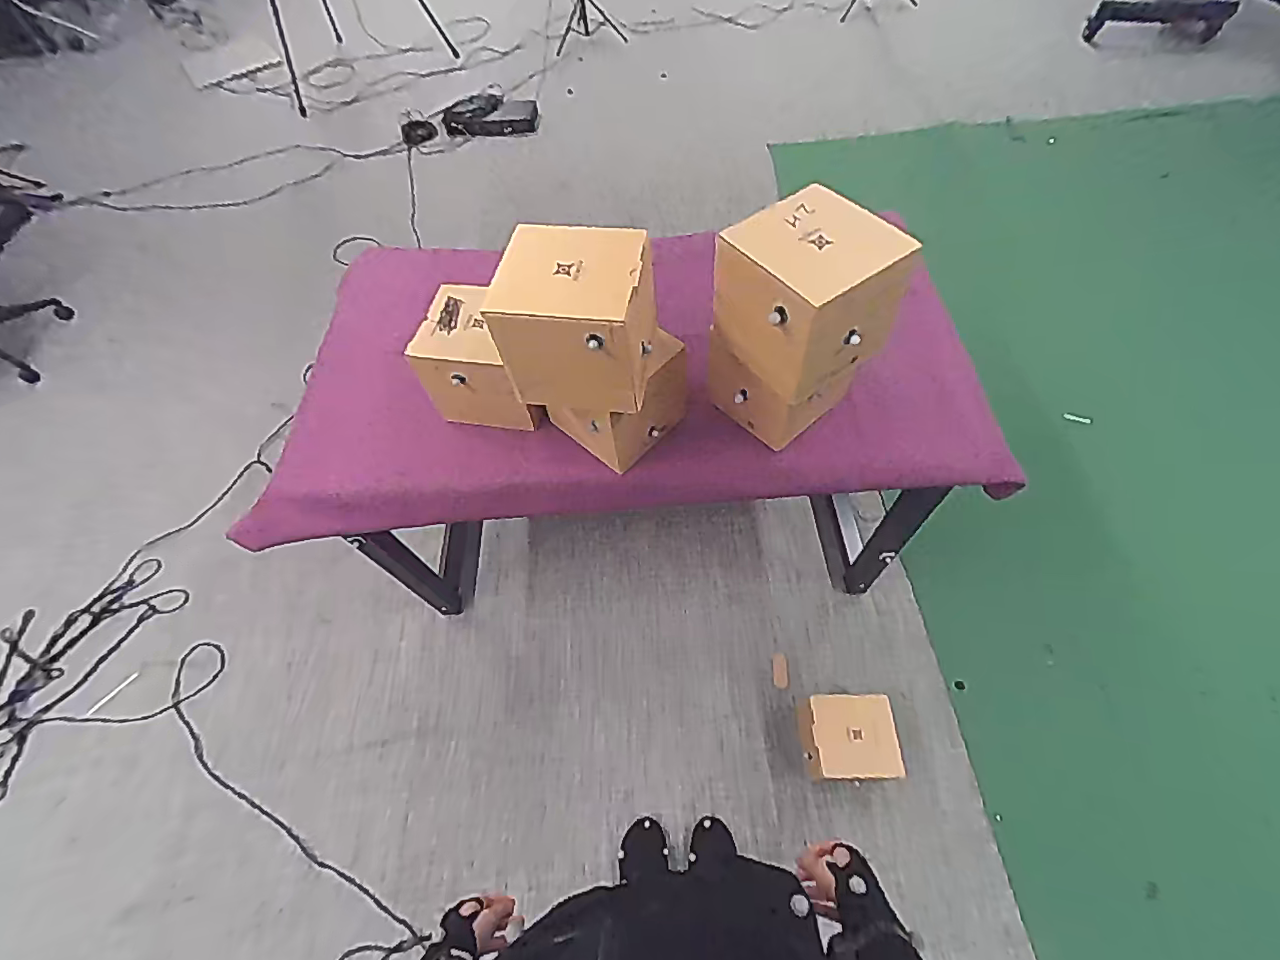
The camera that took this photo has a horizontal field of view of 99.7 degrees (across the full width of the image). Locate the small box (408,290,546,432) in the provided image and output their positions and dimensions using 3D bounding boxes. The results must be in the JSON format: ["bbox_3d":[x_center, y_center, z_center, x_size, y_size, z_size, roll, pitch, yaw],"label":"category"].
[{"bbox_3d":[-0.253,-0.198,0.922,0.179,0.176,0.168,7,60,8],"label":"small box"}]

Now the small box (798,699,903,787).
[{"bbox_3d":[0.466,0.602,1.232,0.179,0.176,0.168,-1,59,3],"label":"small box"}]

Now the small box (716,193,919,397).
[{"bbox_3d":[0.216,-0.233,0.711,0.168,0.176,0.179,-32,60,-14],"label":"small box"}]

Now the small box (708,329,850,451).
[{"bbox_3d":[0.227,-0.180,0.872,0.179,0.176,0.168,-38,63,-17],"label":"small box"}]

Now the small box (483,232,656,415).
[{"bbox_3d":[-0.079,-0.204,0.720,0.179,0.176,0.168,6,59,8],"label":"small box"}]
